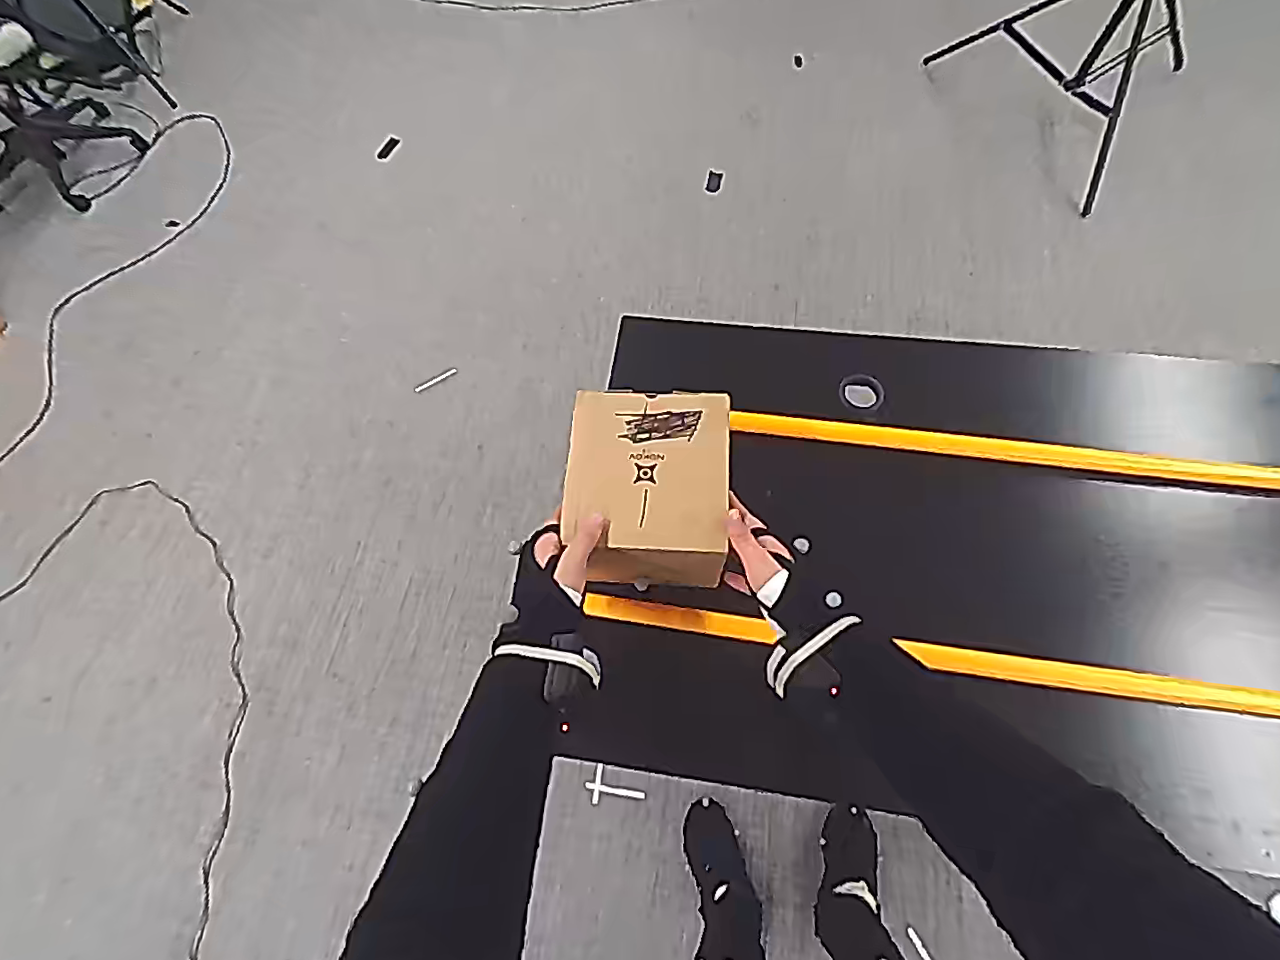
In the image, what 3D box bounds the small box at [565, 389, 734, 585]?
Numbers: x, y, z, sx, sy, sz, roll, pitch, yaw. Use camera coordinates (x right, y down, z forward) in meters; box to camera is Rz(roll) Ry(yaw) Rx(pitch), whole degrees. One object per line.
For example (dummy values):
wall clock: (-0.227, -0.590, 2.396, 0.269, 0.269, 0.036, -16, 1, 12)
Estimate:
small box: (0.017, 0.014, 0.624, 0.168, 0.176, 0.179, 2, 68, 5)
